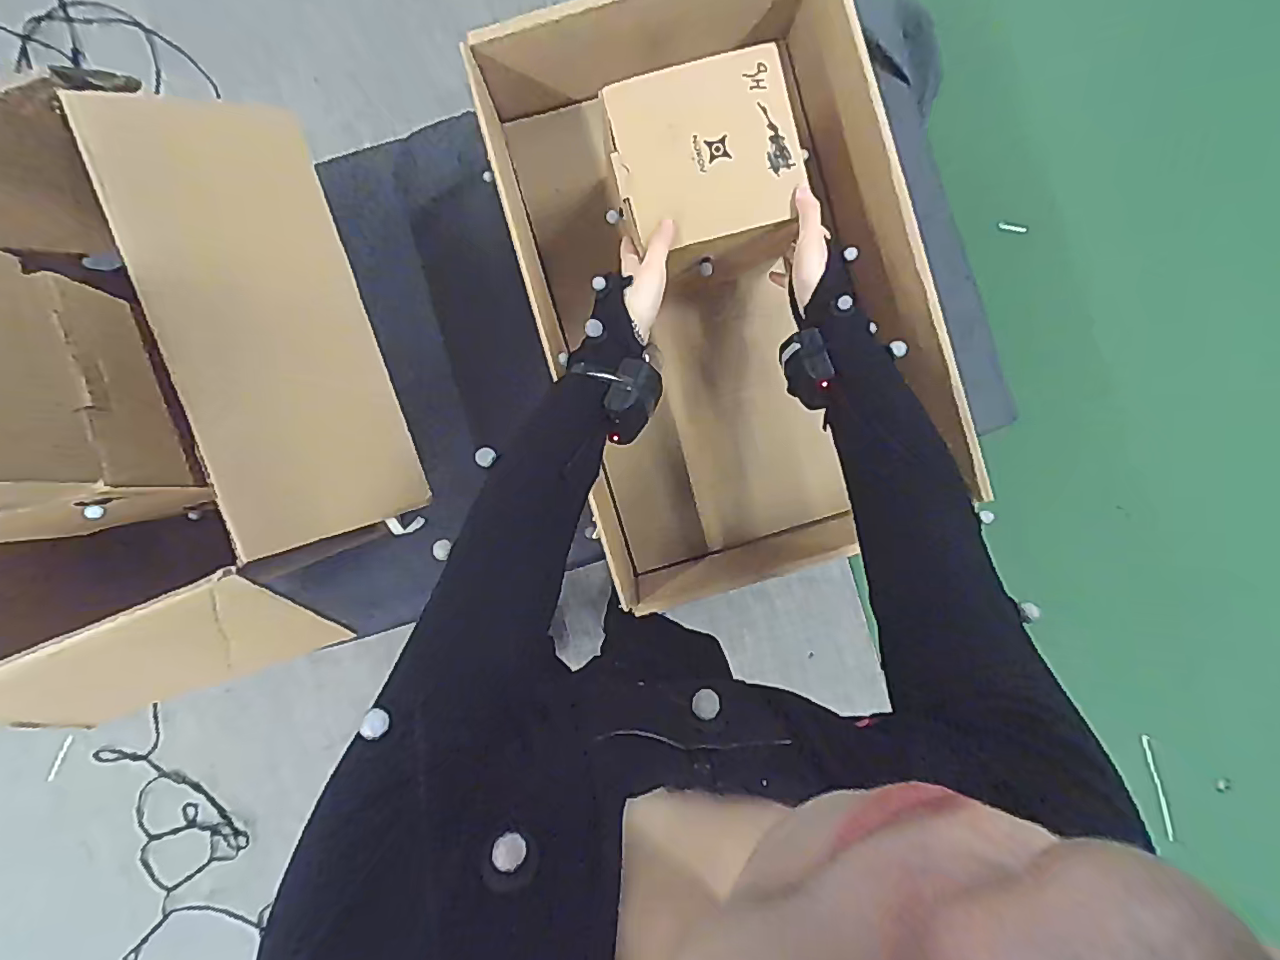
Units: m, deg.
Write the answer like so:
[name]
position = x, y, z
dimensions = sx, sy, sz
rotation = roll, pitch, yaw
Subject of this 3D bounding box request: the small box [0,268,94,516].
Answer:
[small box]
position = -0.484, -0.055, 0.302
dimensions = 0.168, 0.176, 0.179
rotation = -19, 91, -5
